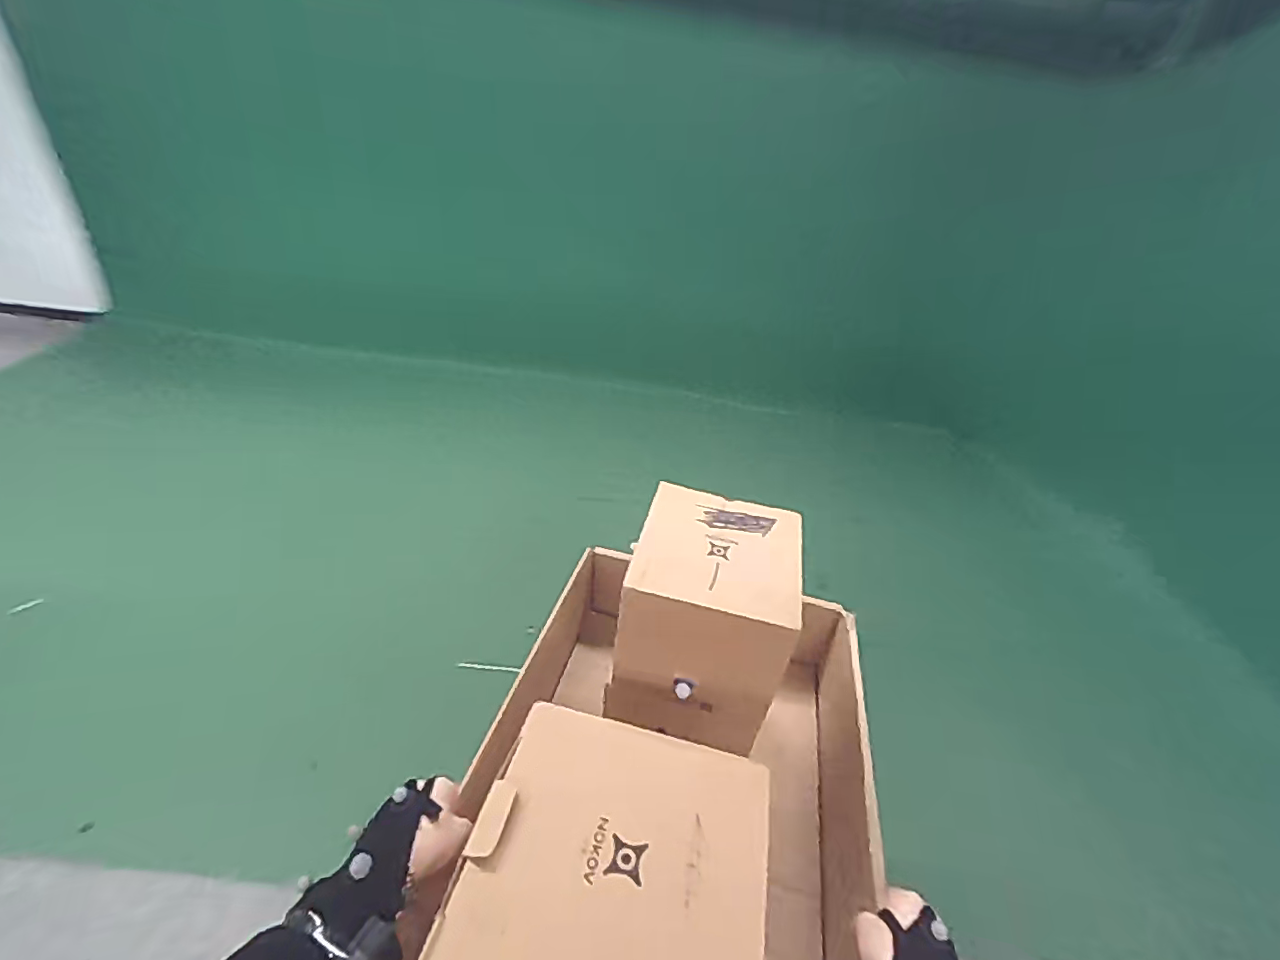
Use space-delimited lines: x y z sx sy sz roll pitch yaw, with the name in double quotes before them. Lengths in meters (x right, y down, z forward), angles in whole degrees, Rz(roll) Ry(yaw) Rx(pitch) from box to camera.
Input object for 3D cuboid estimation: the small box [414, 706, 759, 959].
"small box" -0.026 0.292 0.369 0.179 0.176 0.168 12 35 6
